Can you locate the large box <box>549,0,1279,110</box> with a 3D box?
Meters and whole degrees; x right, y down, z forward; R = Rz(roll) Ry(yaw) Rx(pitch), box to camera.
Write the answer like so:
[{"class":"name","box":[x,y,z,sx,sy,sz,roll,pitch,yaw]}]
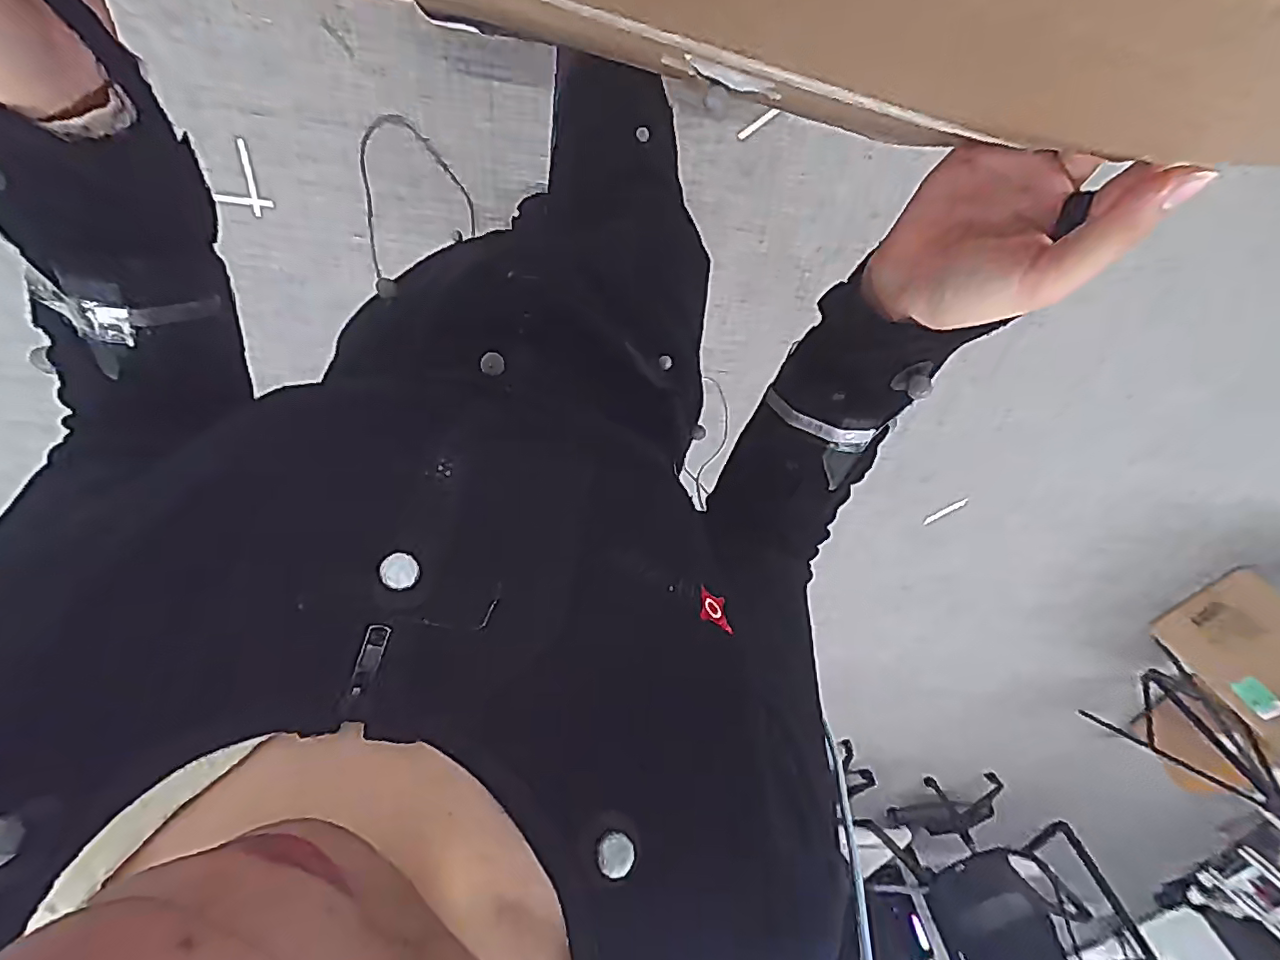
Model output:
[{"class":"large box","box":[0.013,-0.304,0.096,0.408,0.320,0.320,7,123,-11]}]
